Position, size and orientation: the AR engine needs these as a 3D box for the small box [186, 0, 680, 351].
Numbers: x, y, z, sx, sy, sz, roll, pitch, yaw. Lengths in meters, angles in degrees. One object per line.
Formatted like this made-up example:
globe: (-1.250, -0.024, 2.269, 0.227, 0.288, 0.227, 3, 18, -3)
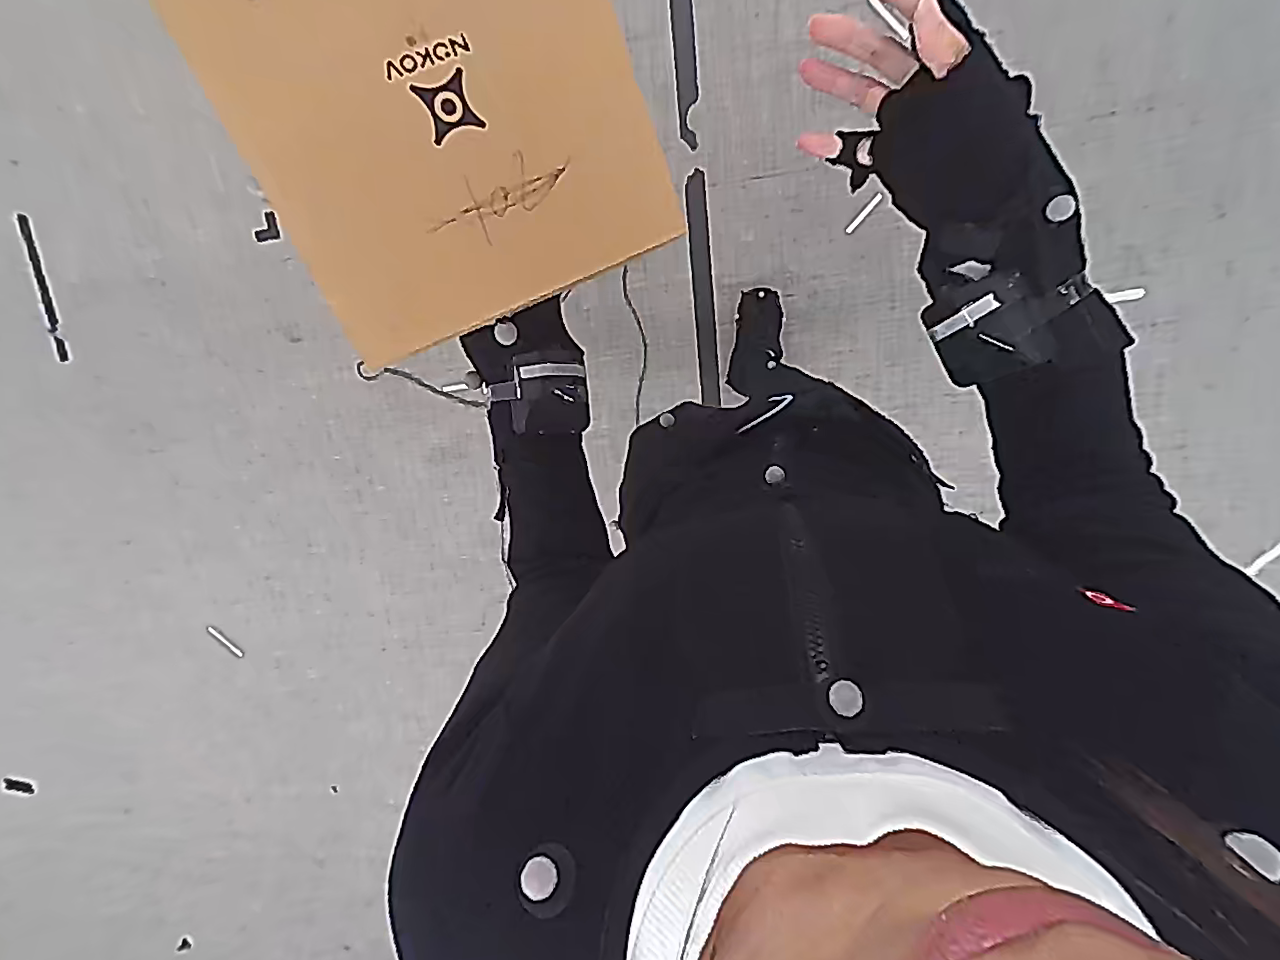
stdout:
small box: (-0.102, -0.187, 0.314, 0.168, 0.176, 0.179, -26, 110, -6)
